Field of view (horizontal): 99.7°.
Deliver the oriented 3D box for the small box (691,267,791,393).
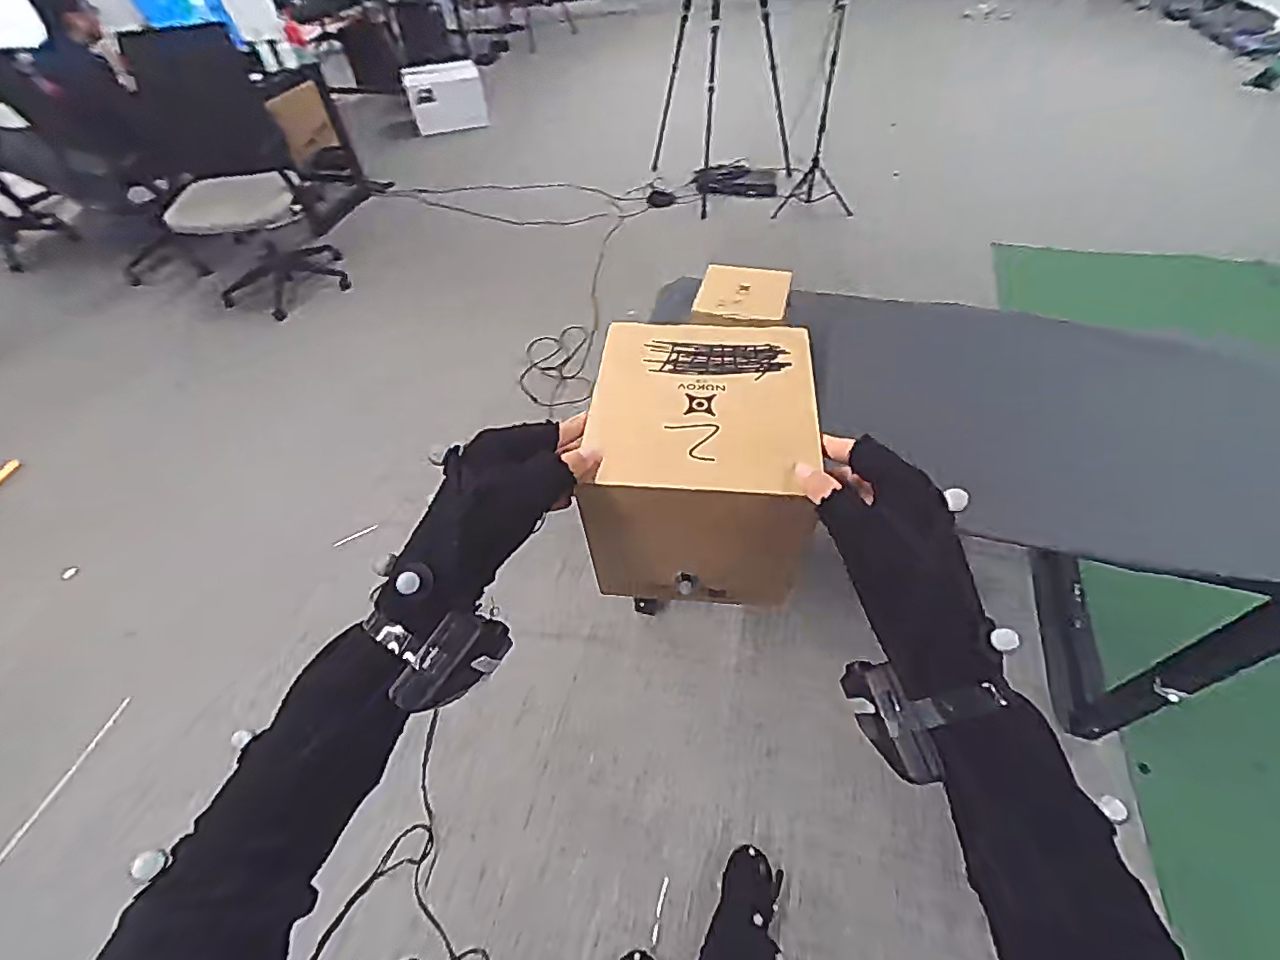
[{"bbox_3d":[0.199,-0.303,1.092,0.168,0.176,0.179,11,51,13],"label":"small box"}]
